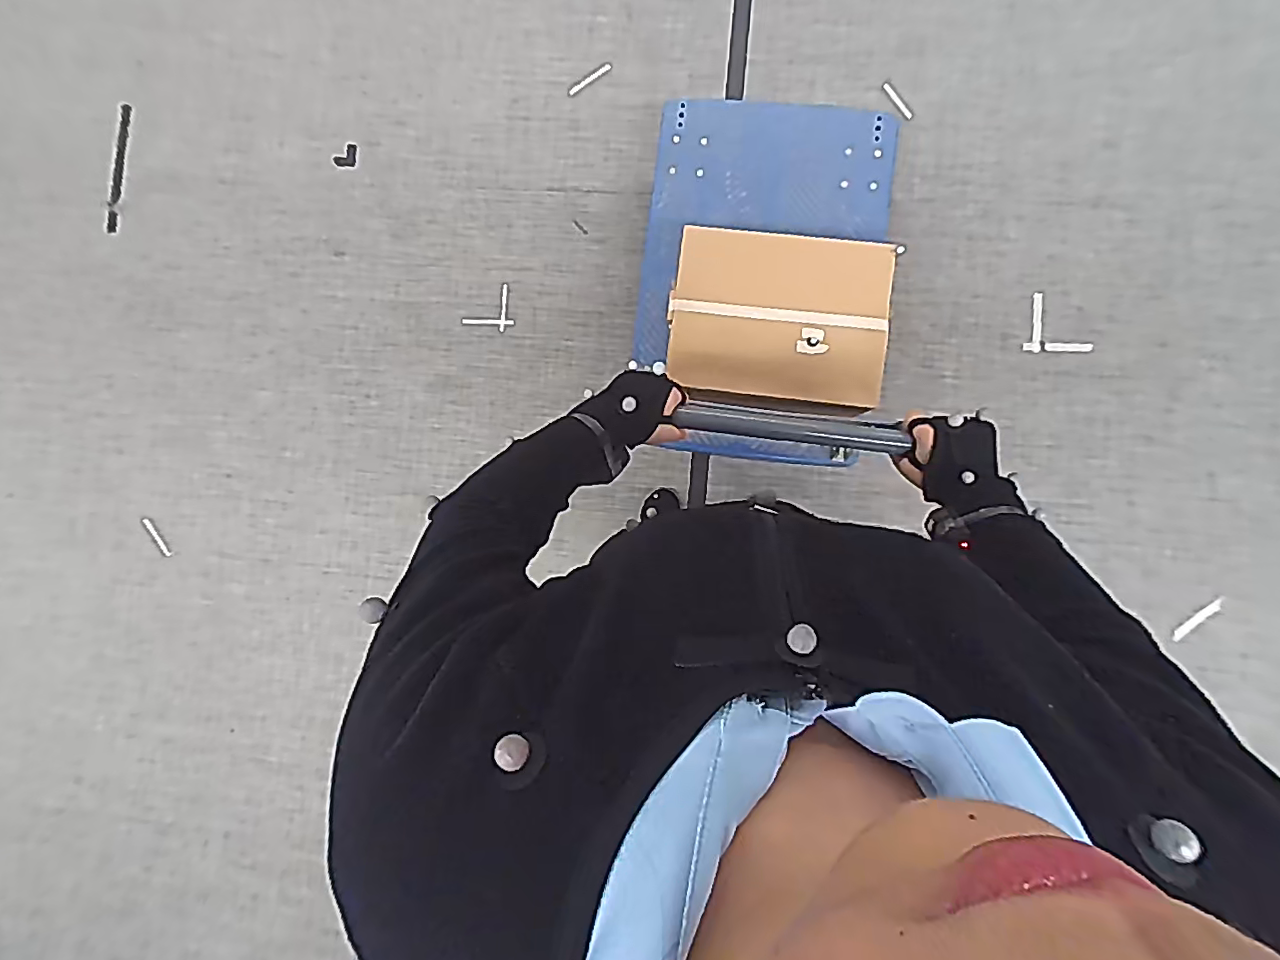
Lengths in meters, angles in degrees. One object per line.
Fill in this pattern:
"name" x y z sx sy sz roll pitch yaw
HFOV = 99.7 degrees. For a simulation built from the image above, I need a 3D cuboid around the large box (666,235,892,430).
"large box" 0.269 -0.296 1.177 0.408 0.320 0.320 7 90 3
